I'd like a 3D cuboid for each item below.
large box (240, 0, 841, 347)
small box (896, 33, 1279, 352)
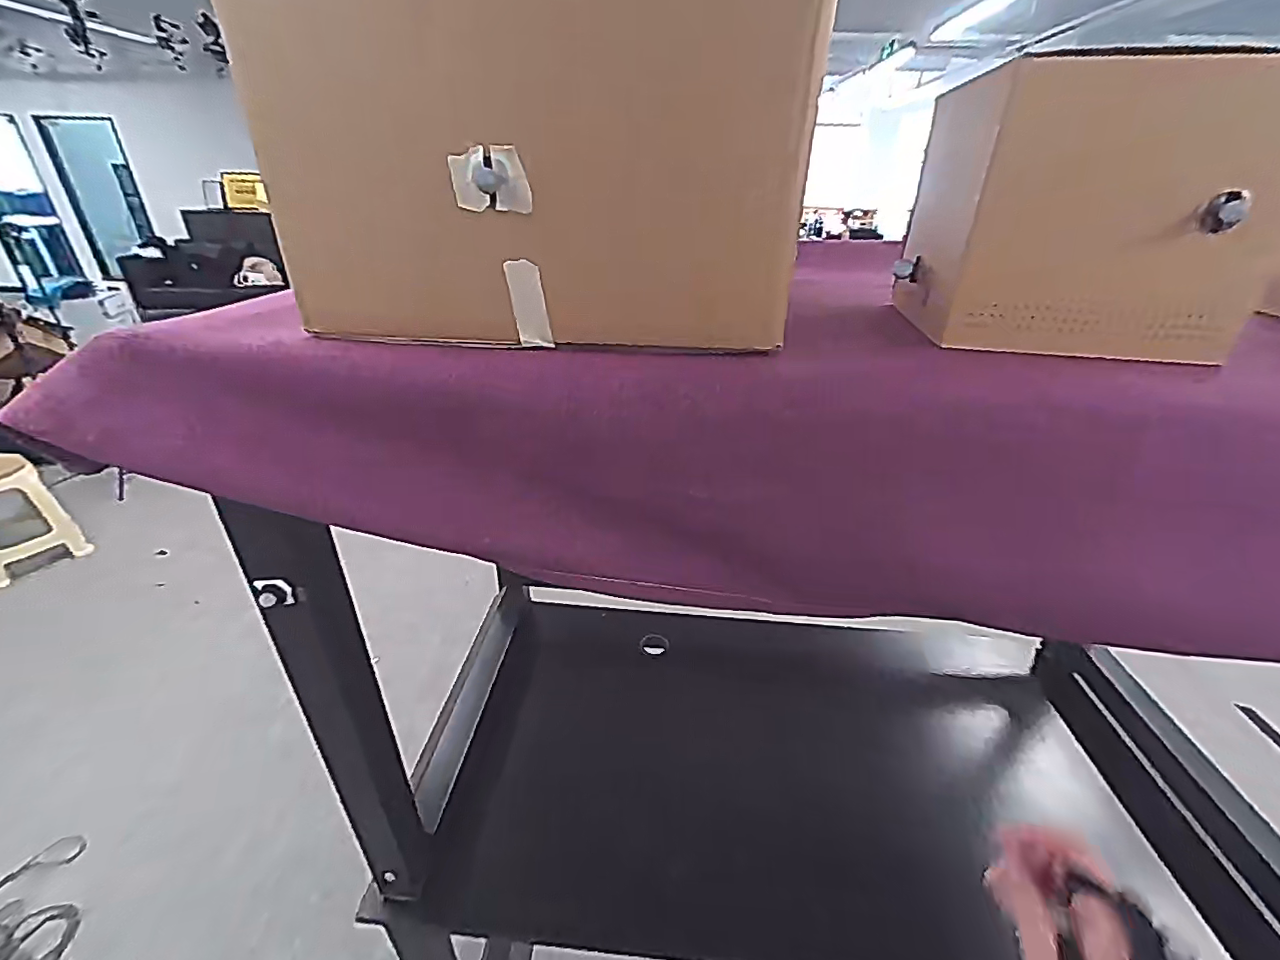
[{"bbox_3d":[-0.047,-0.310,0.445,0.320,0.320,0.408,3,28,1],"label":"large box"},{"bbox_3d":[0.311,-0.196,0.391,0.179,0.176,0.168,6,28,9],"label":"small box"}]
